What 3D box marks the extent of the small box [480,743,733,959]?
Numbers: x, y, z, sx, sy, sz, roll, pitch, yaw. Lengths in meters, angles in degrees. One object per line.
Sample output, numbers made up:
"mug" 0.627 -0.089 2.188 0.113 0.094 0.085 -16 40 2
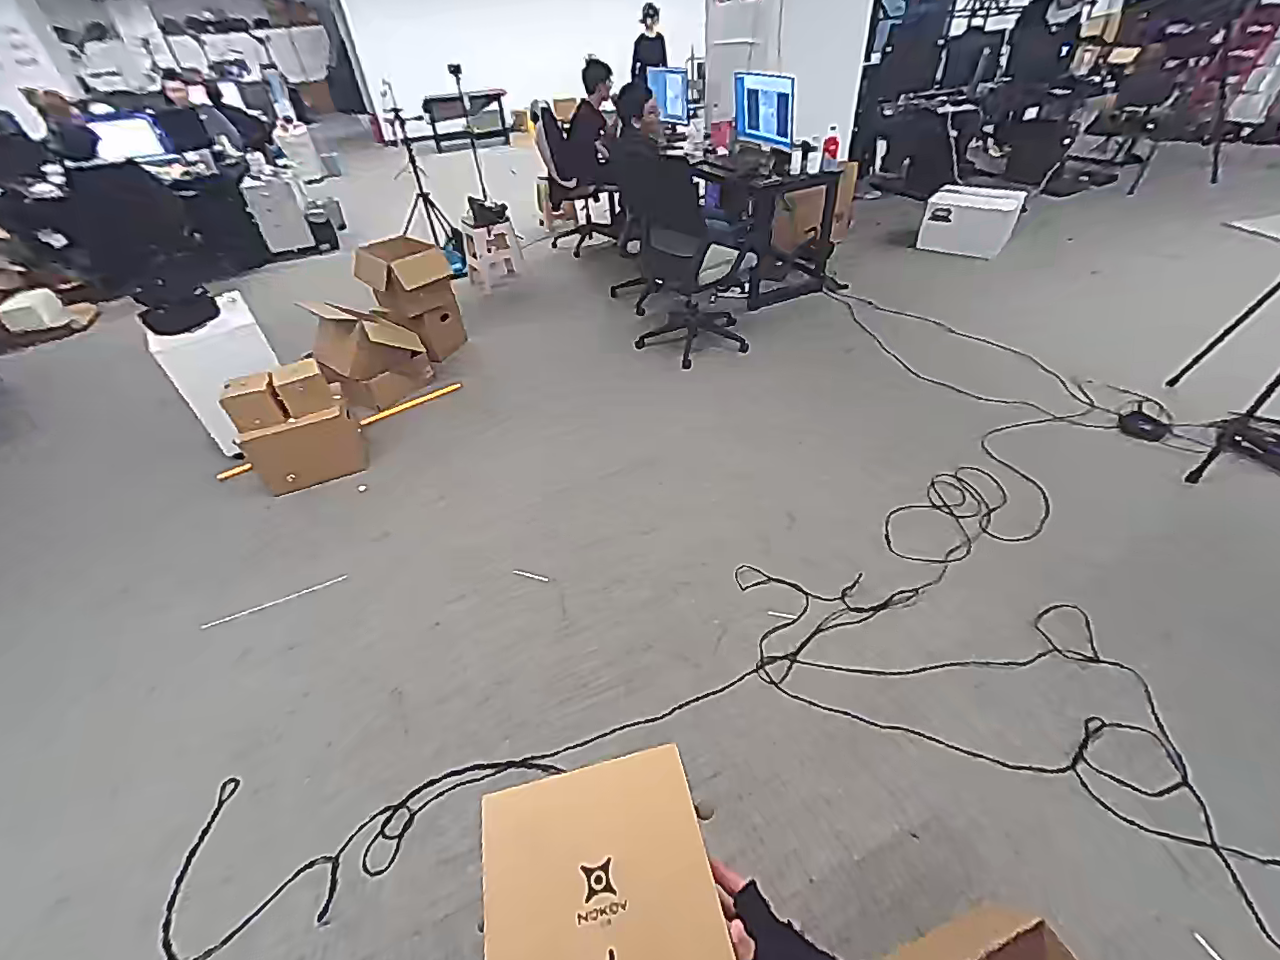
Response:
"small box" -0.026 0.349 0.437 0.168 0.176 0.179 -13 46 -6
